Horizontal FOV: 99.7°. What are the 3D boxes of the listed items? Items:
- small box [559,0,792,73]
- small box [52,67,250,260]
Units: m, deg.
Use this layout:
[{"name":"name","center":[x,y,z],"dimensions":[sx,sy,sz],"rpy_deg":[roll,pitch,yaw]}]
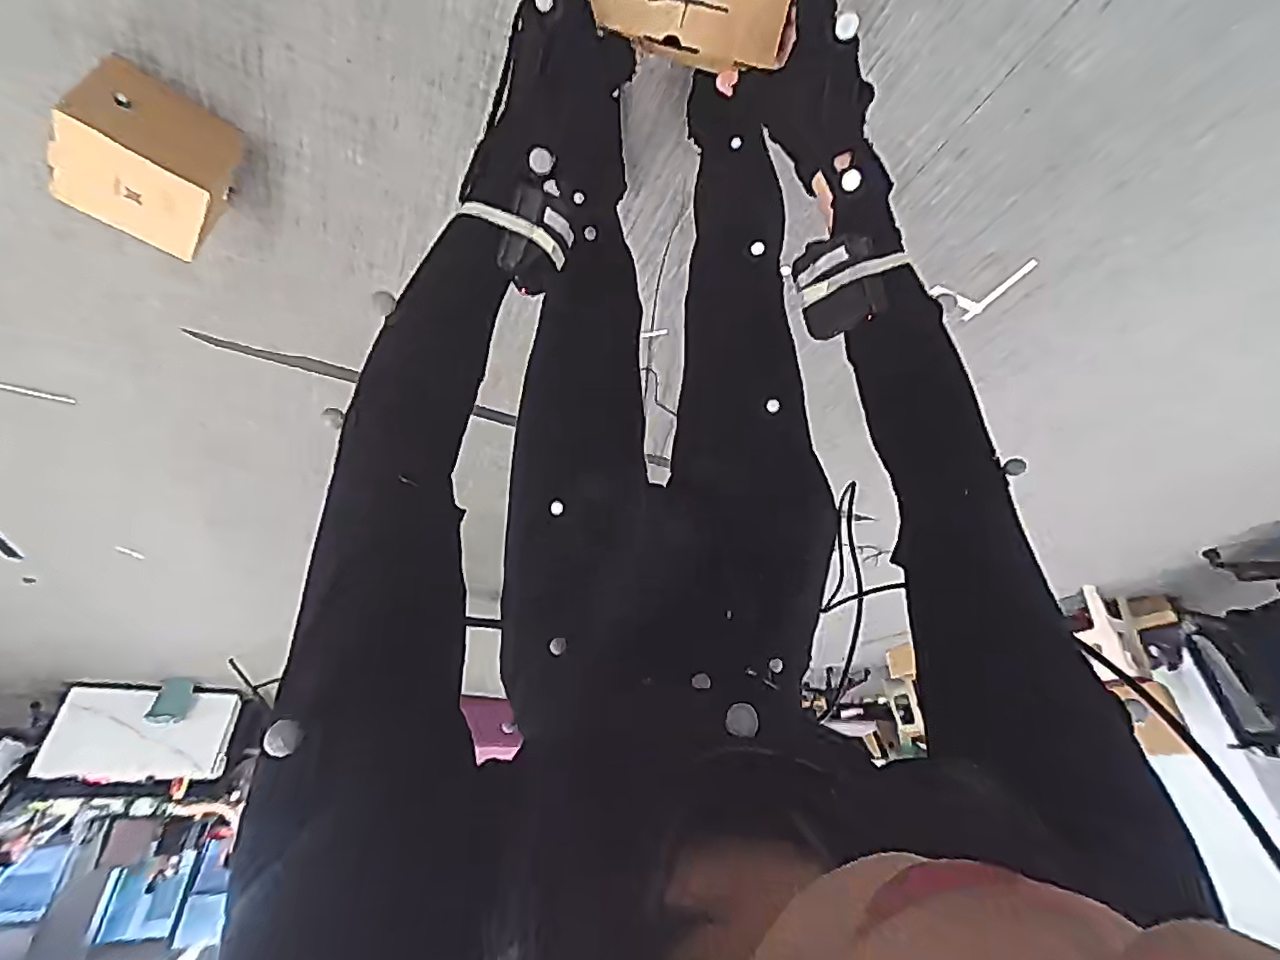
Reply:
[{"name":"small box","center":[0.029,-0.436,0.408],"dimensions":[0.168,0.176,0.179],"rpy_deg":[3,128,-14]},{"name":"small box","center":[-0.754,-0.495,0.845],"dimensions":[0.179,0.176,0.168],"rpy_deg":[25,140,-36]}]
